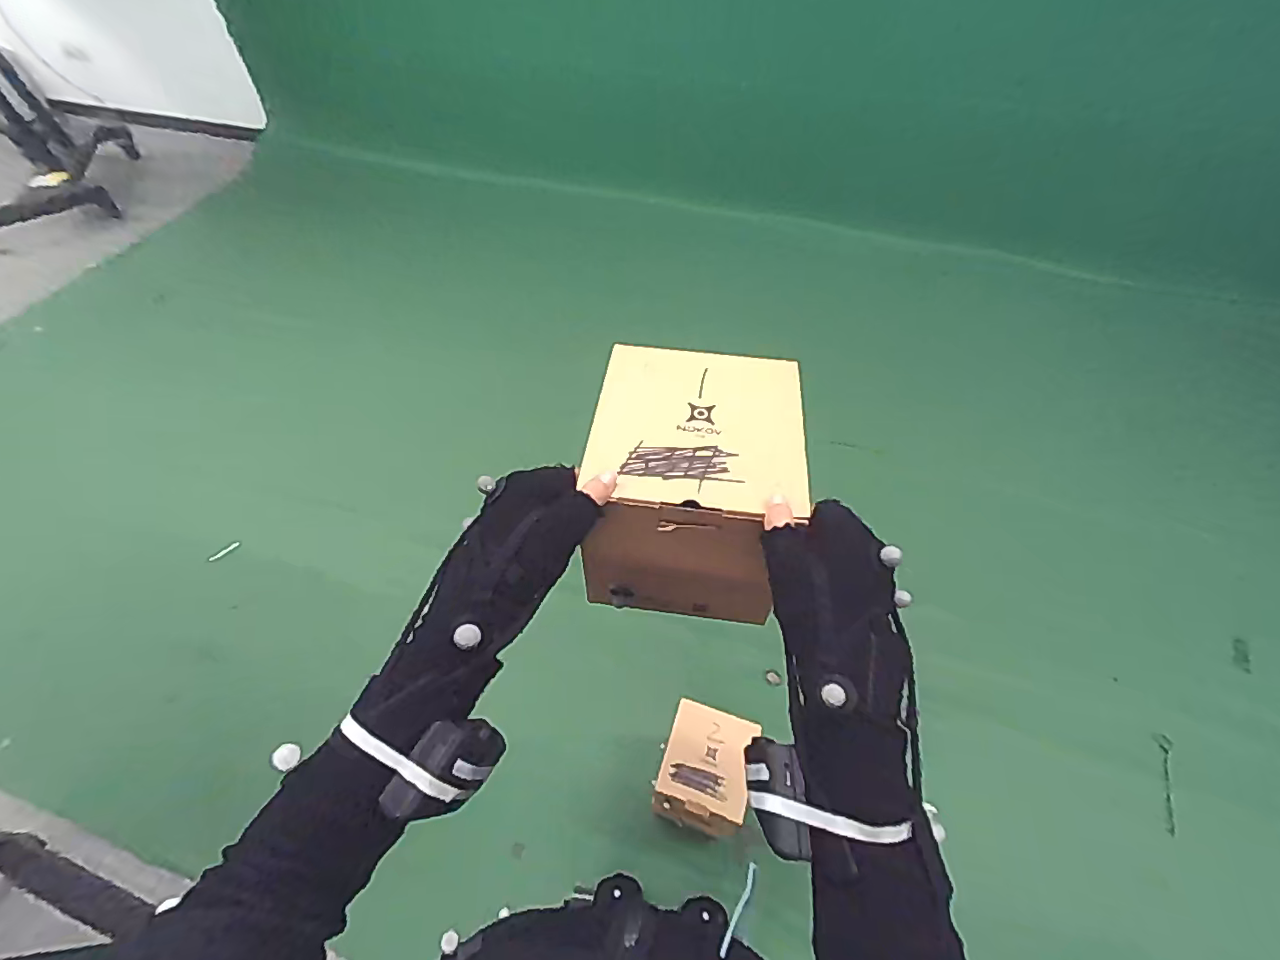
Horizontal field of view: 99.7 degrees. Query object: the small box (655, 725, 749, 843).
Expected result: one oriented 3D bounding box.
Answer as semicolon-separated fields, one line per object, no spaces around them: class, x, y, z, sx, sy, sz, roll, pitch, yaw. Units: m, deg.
small box;0.134;0.680;1.208;0.168;0.176;0.179;15;55;12
